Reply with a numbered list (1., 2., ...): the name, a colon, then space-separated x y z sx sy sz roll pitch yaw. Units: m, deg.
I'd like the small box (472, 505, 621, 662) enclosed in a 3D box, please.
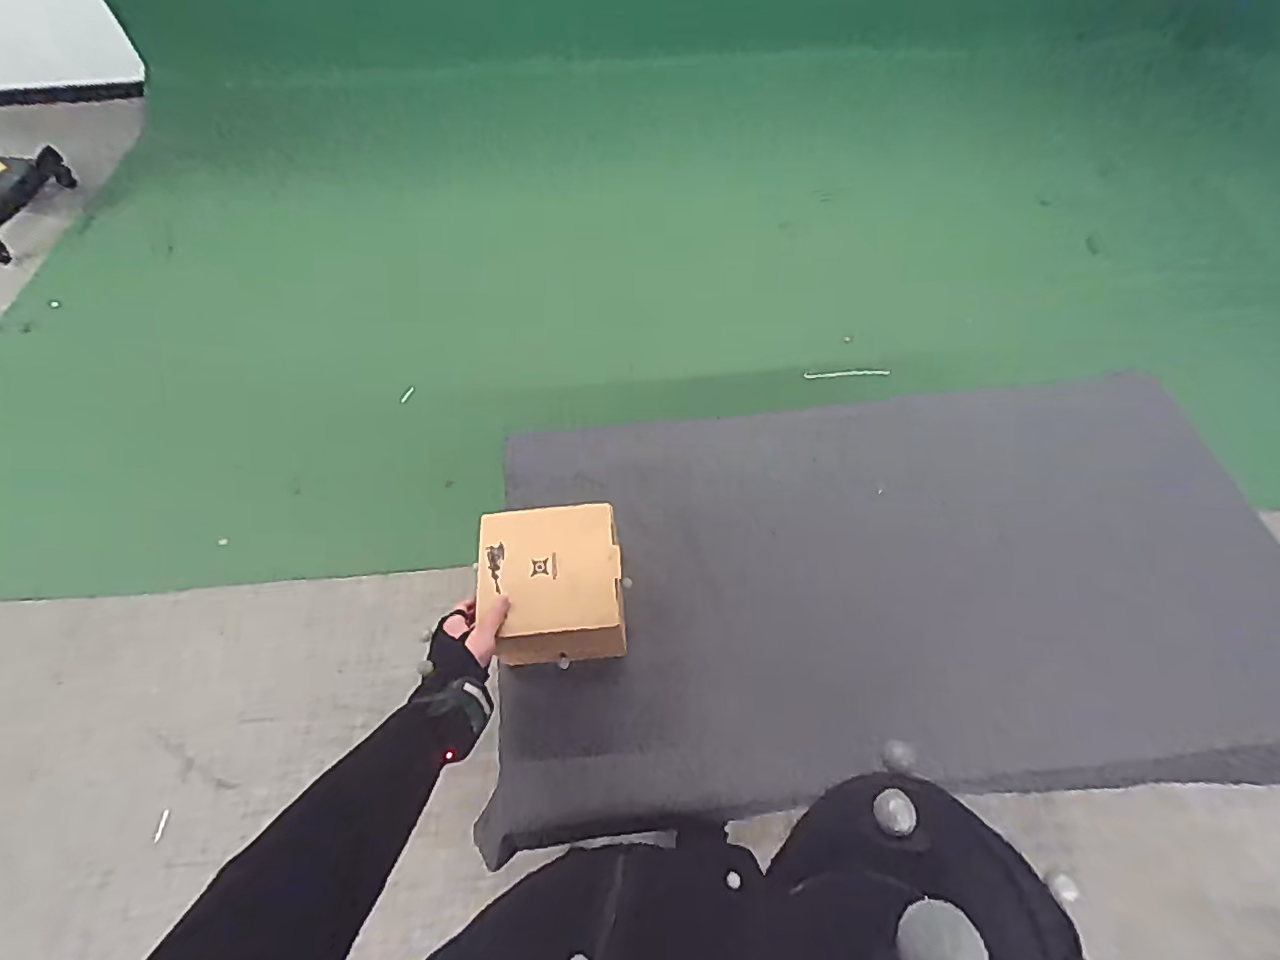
1. small box: -0.117 0.146 0.742 0.179 0.176 0.168 -5 61 -1
